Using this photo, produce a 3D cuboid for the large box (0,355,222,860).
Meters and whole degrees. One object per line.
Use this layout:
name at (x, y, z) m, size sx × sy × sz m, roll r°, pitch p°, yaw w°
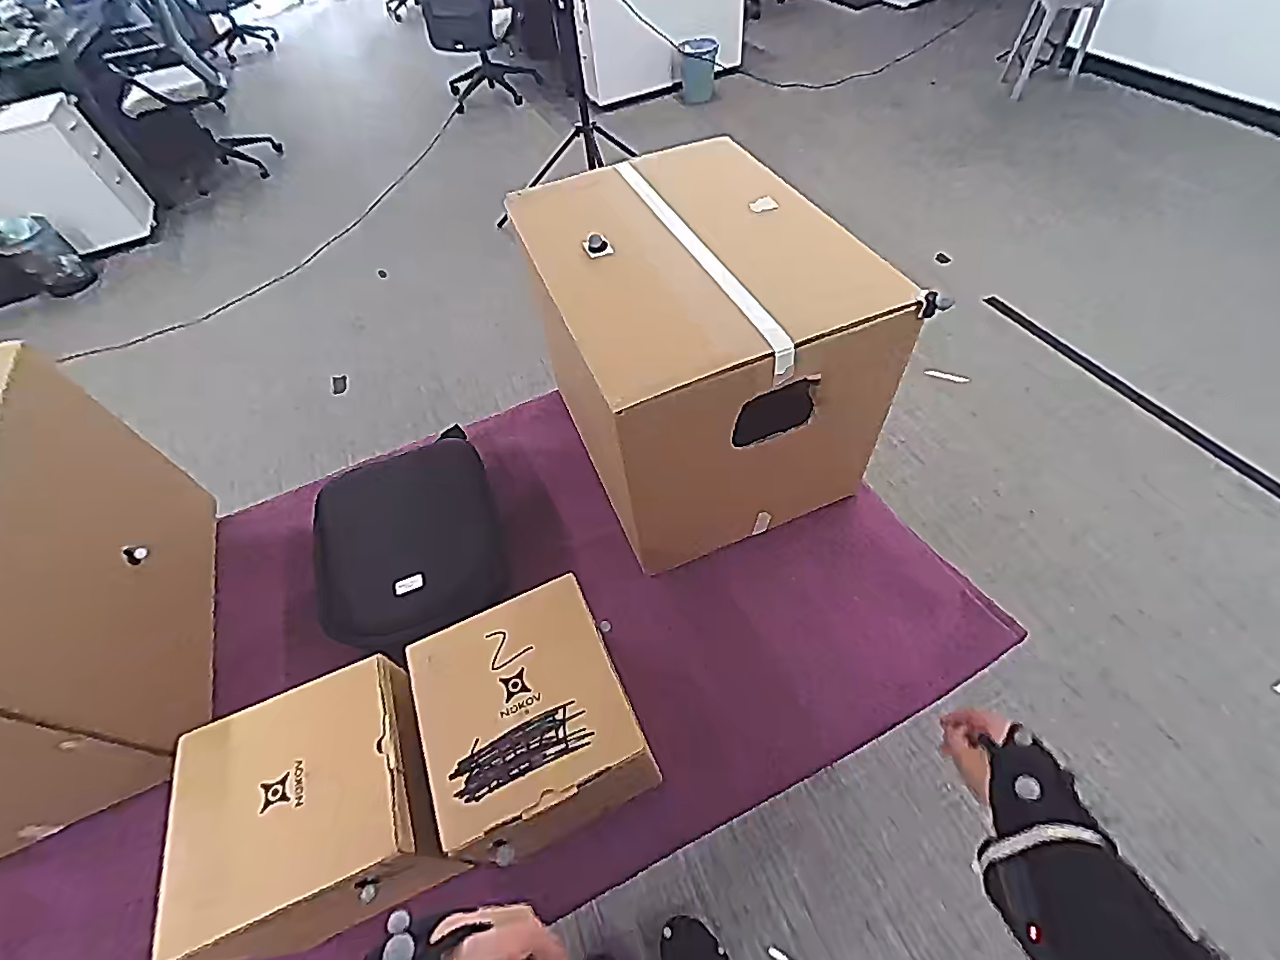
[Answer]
large box at (-0.706, 0.146, 0.571) m, size 0.320 × 0.320 × 0.408 m, roll -23°, pitch 57°, yaw -12°
